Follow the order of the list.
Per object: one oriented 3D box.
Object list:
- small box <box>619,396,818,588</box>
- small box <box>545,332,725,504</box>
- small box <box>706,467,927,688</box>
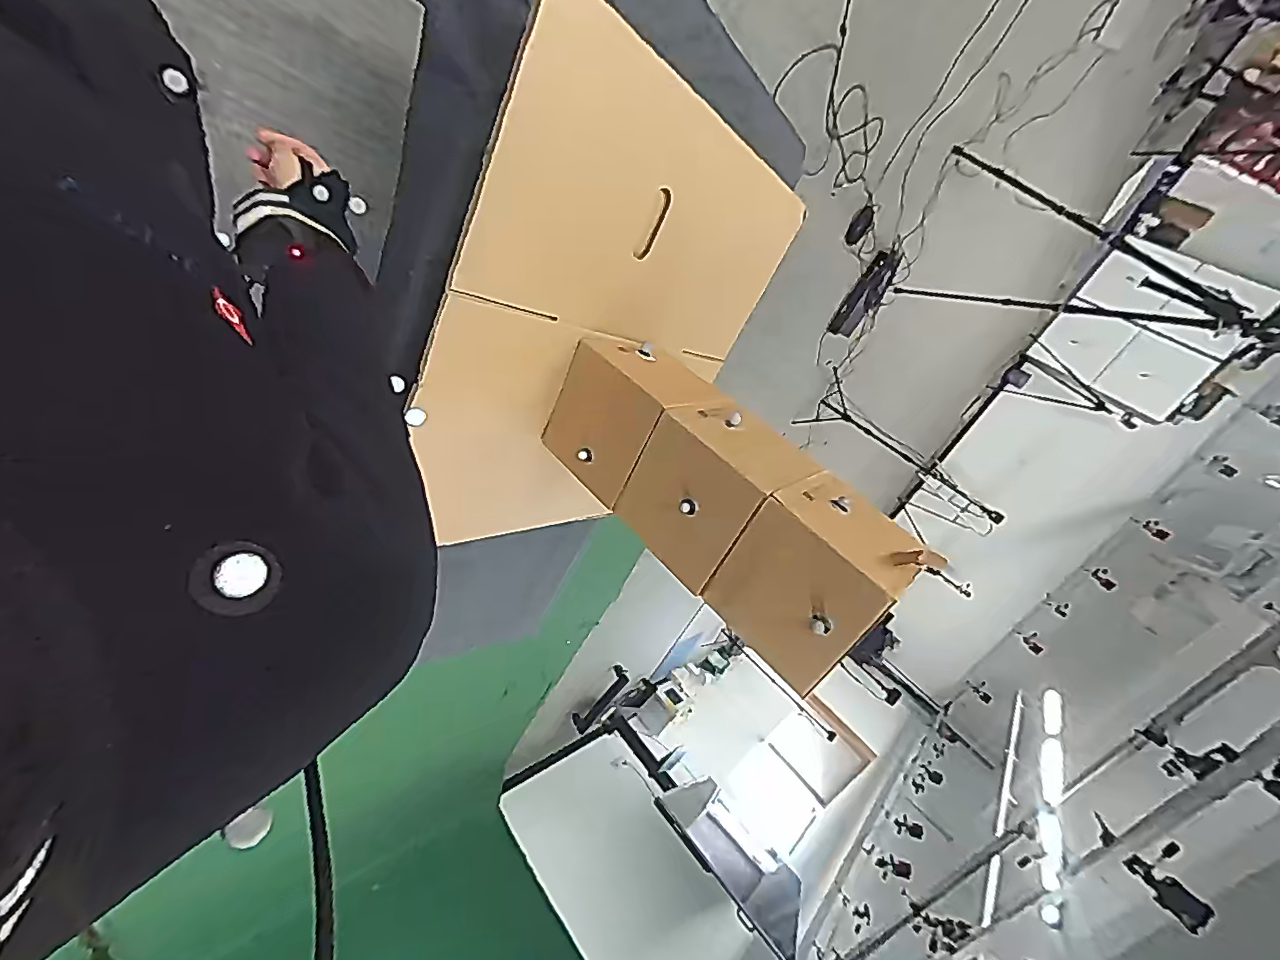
[{"bbox_3d":[0.096,0.008,0.728,0.168,0.176,0.179,-16,141,-49],"label":"small box"},{"bbox_3d":[-0.014,-0.095,0.794,0.168,0.176,0.179,-16,140,-50],"label":"small box"},{"bbox_3d":[0.207,0.110,0.667,0.168,0.176,0.179,-17,141,-49],"label":"small box"}]
